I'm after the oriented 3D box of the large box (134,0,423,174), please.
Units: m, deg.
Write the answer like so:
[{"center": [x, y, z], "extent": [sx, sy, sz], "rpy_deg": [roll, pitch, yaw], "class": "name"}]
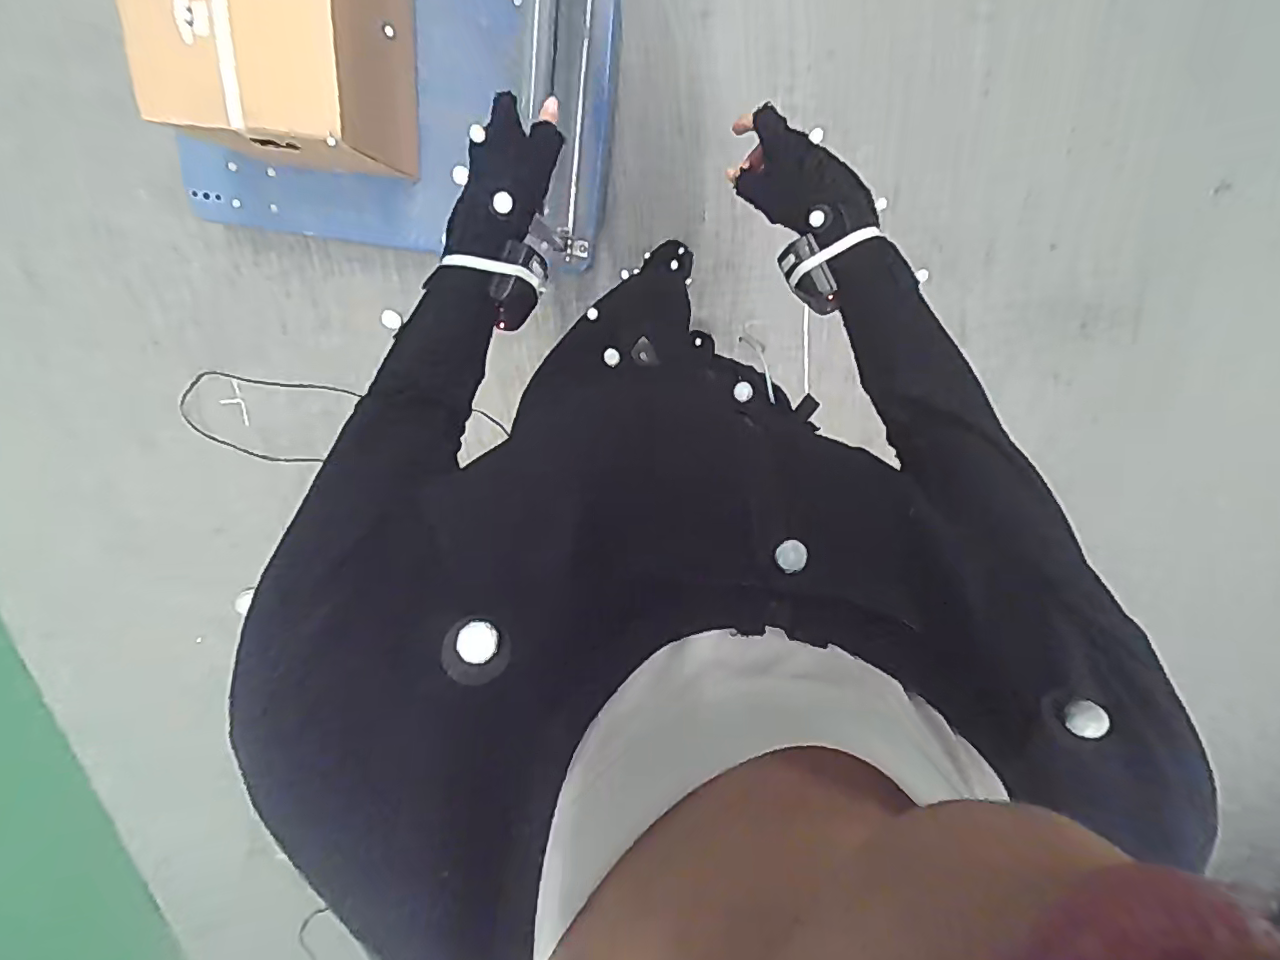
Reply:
[{"center": [-0.587, -0.788, 0.920], "extent": [0.320, 0.320, 0.408], "rpy_deg": [6, 110, 0], "class": "large box"}]
